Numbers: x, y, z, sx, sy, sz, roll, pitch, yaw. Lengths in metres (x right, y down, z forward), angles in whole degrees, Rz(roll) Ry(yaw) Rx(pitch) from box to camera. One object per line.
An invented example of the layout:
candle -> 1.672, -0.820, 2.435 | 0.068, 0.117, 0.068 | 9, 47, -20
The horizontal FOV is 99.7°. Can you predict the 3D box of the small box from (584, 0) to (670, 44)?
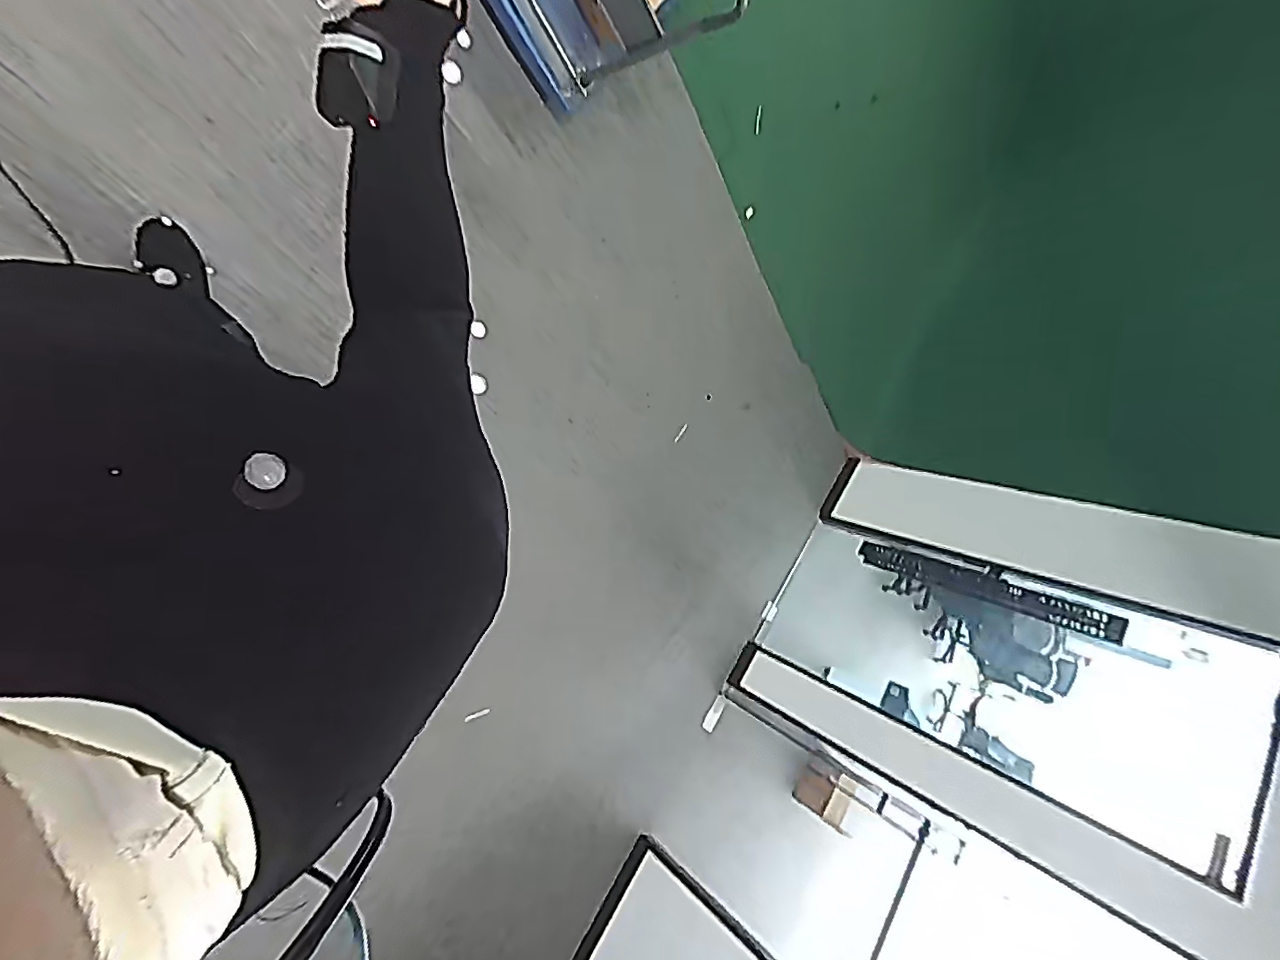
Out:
small box -> -0.037, -1.357, 1.485 | 0.179, 0.176, 0.168 | -54, 132, -15
